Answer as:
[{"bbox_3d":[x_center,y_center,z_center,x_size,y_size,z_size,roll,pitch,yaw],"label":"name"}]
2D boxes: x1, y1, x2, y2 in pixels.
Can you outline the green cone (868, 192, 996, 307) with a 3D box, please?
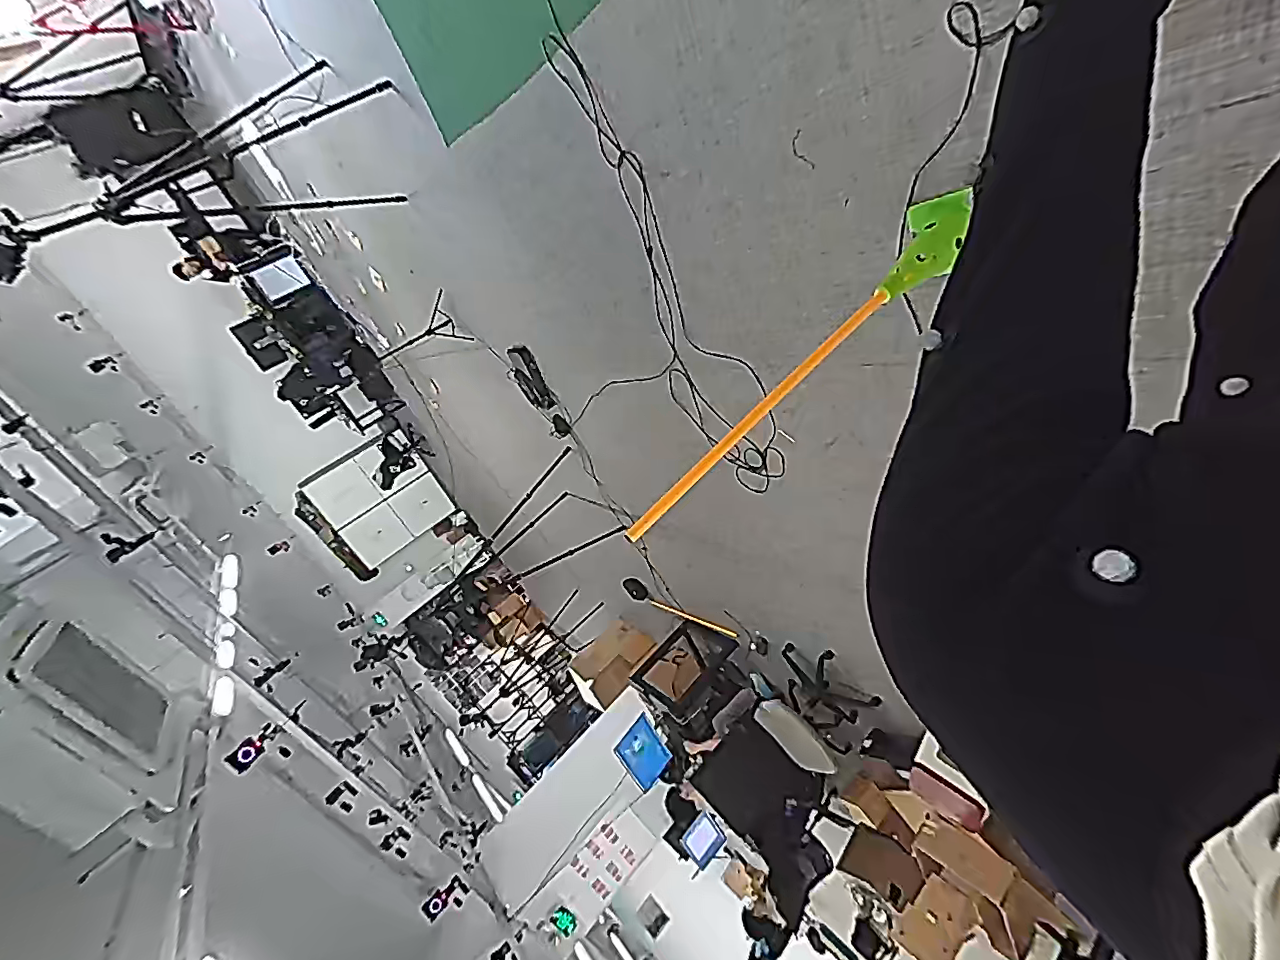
[{"bbox_3d":[0.693,-0.537,1.354,0.202,0.368,0.200,12,135,57],"label":"green cone"}]
